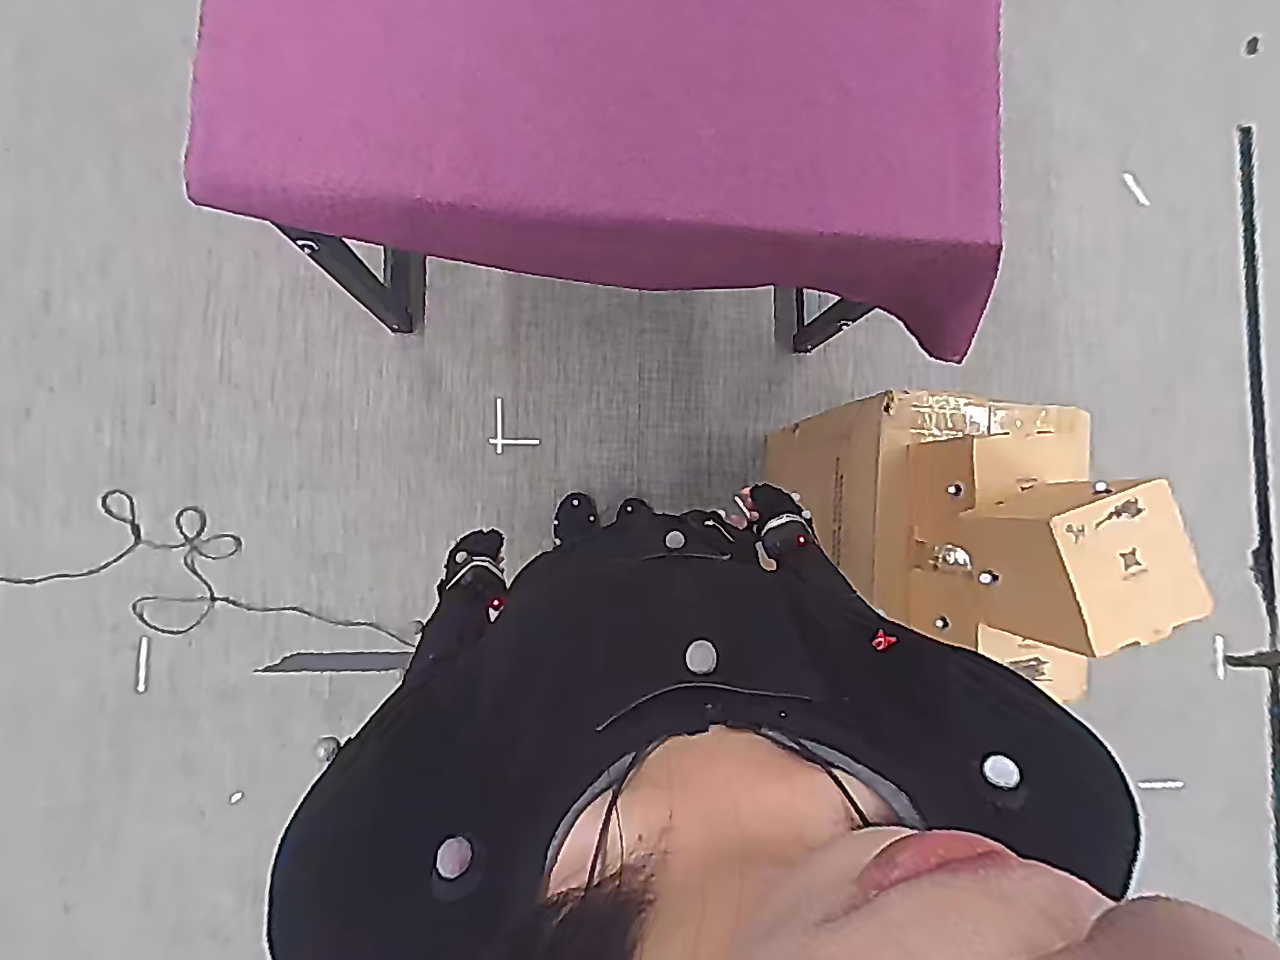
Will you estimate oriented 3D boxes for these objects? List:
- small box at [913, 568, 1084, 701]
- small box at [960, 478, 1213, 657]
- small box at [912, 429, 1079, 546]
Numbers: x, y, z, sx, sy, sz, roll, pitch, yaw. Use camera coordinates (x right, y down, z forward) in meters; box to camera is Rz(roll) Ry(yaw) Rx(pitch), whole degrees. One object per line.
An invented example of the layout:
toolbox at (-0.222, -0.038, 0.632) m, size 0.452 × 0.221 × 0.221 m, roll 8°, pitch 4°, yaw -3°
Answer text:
small box at (0.564, 0.240, 0.870) m, size 0.168 × 0.176 × 0.179 m, roll 3°, pitch 84°, yaw -6°
small box at (0.571, 0.104, 0.715) m, size 0.168 × 0.176 × 0.179 m, roll -18°, pitch 89°, yaw -7°
small box at (0.570, 0.016, 0.884) m, size 0.168 × 0.176 × 0.179 m, roll -2°, pitch 89°, yaw -5°
